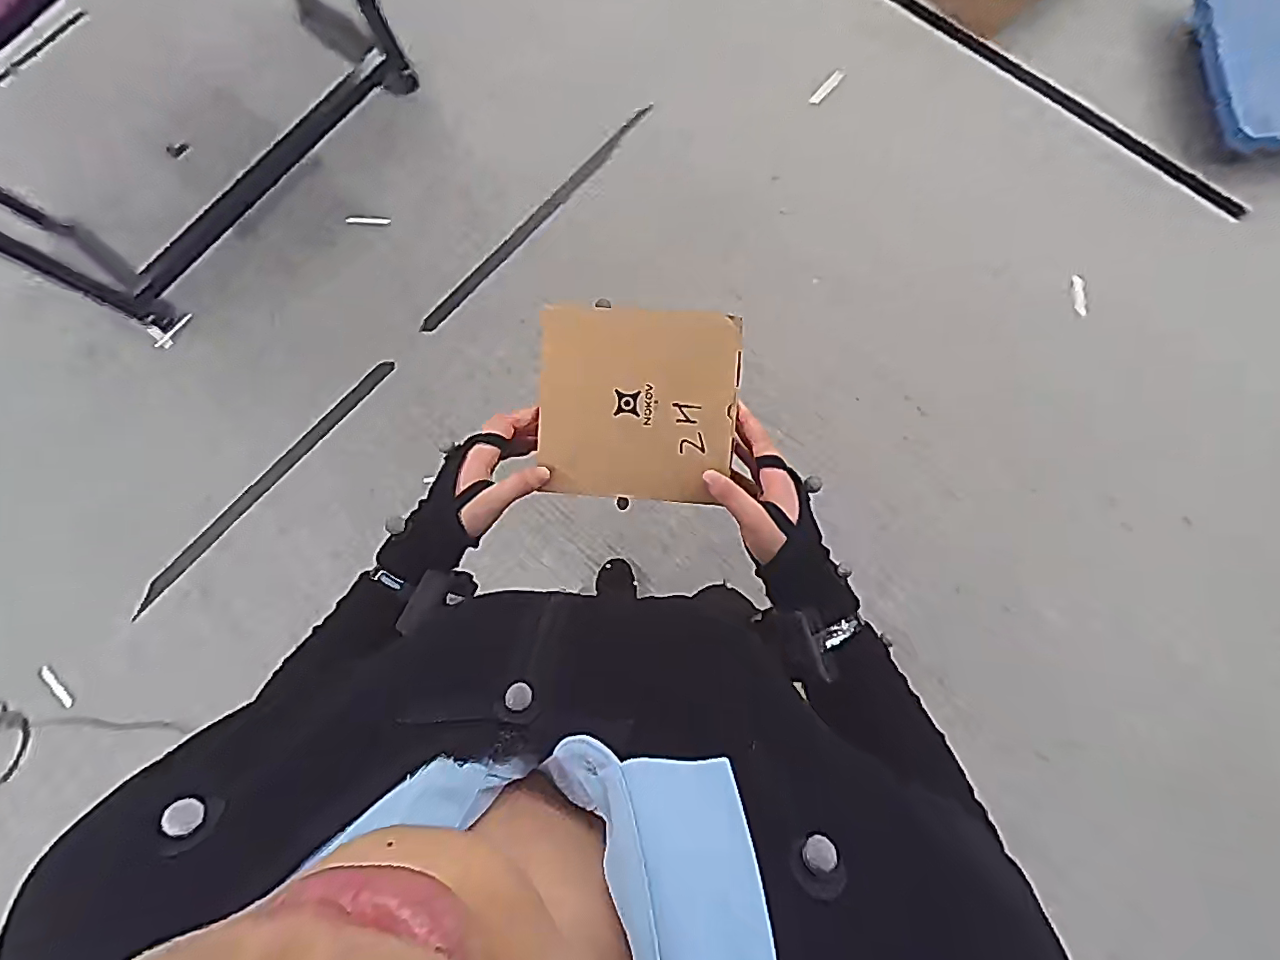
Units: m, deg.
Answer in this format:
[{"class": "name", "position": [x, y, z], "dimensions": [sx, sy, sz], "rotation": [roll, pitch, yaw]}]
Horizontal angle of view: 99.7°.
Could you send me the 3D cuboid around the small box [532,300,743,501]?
[{"class": "small box", "position": [0.001, -0.074, 0.543], "dimensions": [0.179, 0.176, 0.168], "rotation": [4, 95, 3]}]
